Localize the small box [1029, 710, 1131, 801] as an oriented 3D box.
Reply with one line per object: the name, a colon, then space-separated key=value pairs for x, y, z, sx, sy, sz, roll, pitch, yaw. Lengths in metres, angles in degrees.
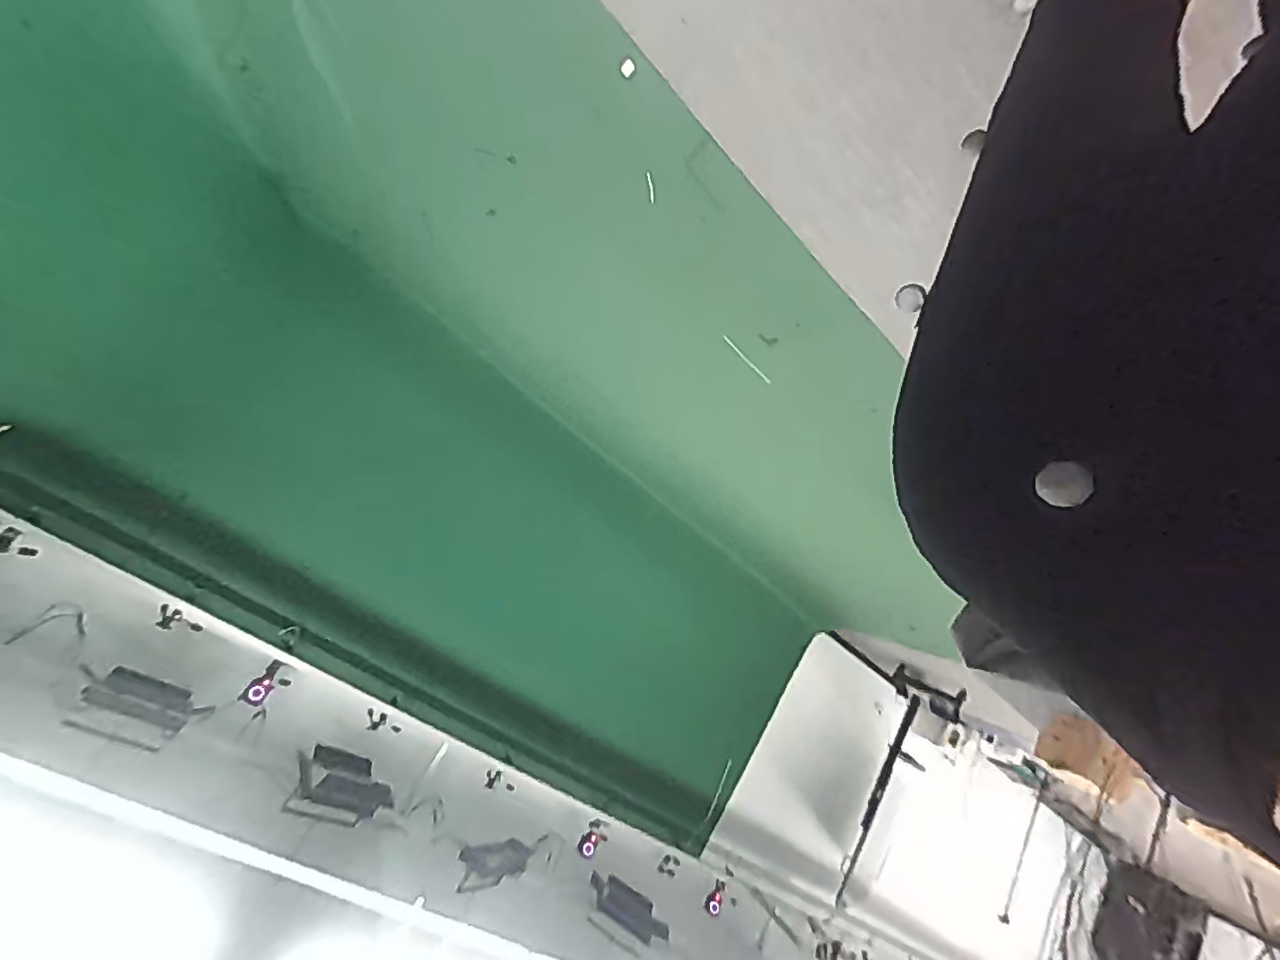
small box: x=1.373 y=0.850 z=1.688 sx=0.179 sy=0.176 sz=0.168 roll=36 pitch=166 yaw=-13
